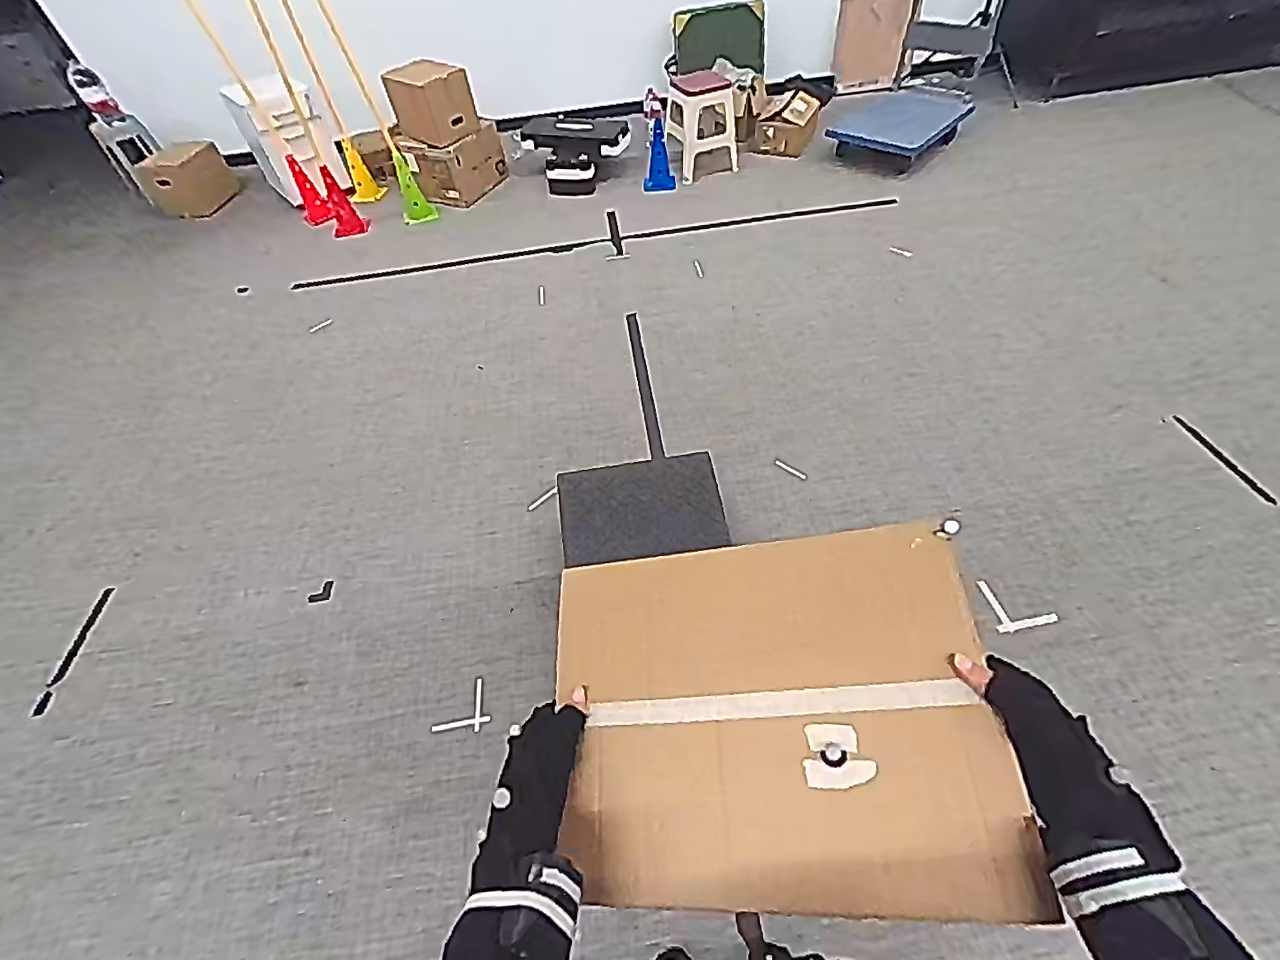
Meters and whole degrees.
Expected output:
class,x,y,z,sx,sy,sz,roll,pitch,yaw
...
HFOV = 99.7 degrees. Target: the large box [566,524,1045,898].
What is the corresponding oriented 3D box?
class,x,y,z,sx,sy,sz,roll,pitch,yaw
large box,0.156,0.280,0.650,0.408,0.320,0.320,-10,62,14
